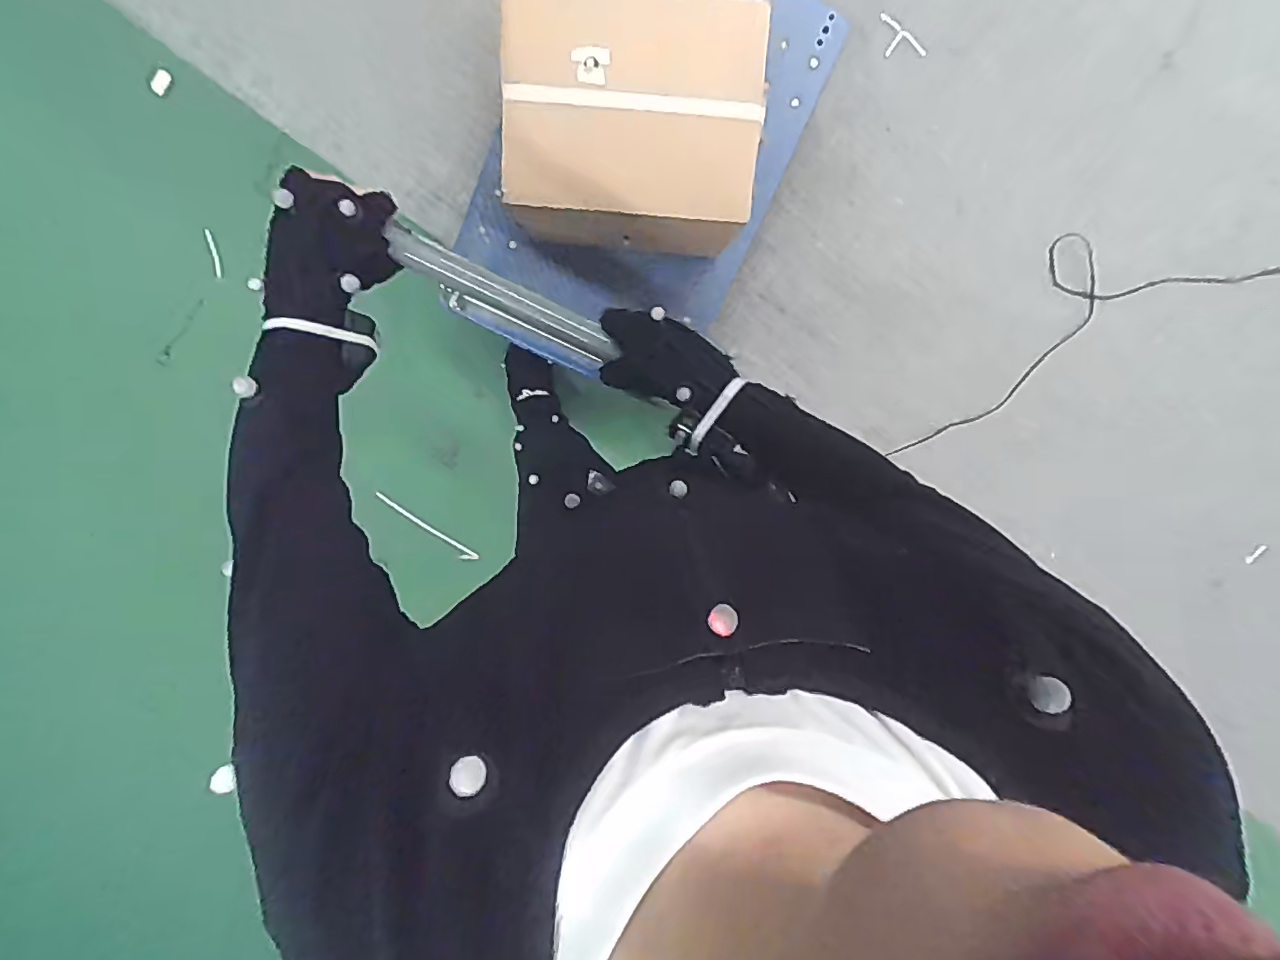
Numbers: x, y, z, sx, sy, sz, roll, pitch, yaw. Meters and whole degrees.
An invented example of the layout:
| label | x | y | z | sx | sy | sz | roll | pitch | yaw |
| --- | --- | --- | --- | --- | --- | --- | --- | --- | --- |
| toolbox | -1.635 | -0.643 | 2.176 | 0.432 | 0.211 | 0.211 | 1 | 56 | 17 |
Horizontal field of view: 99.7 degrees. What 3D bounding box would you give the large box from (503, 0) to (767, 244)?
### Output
| label | x | y | z | sx | sy | sz | roll | pitch | yaw |
| --- | --- | --- | --- | --- | --- | --- | --- | --- | --- |
| large box | -0.012 | -0.627 | 0.984 | 0.408 | 0.320 | 0.320 | 3 | 103 | -1 |
